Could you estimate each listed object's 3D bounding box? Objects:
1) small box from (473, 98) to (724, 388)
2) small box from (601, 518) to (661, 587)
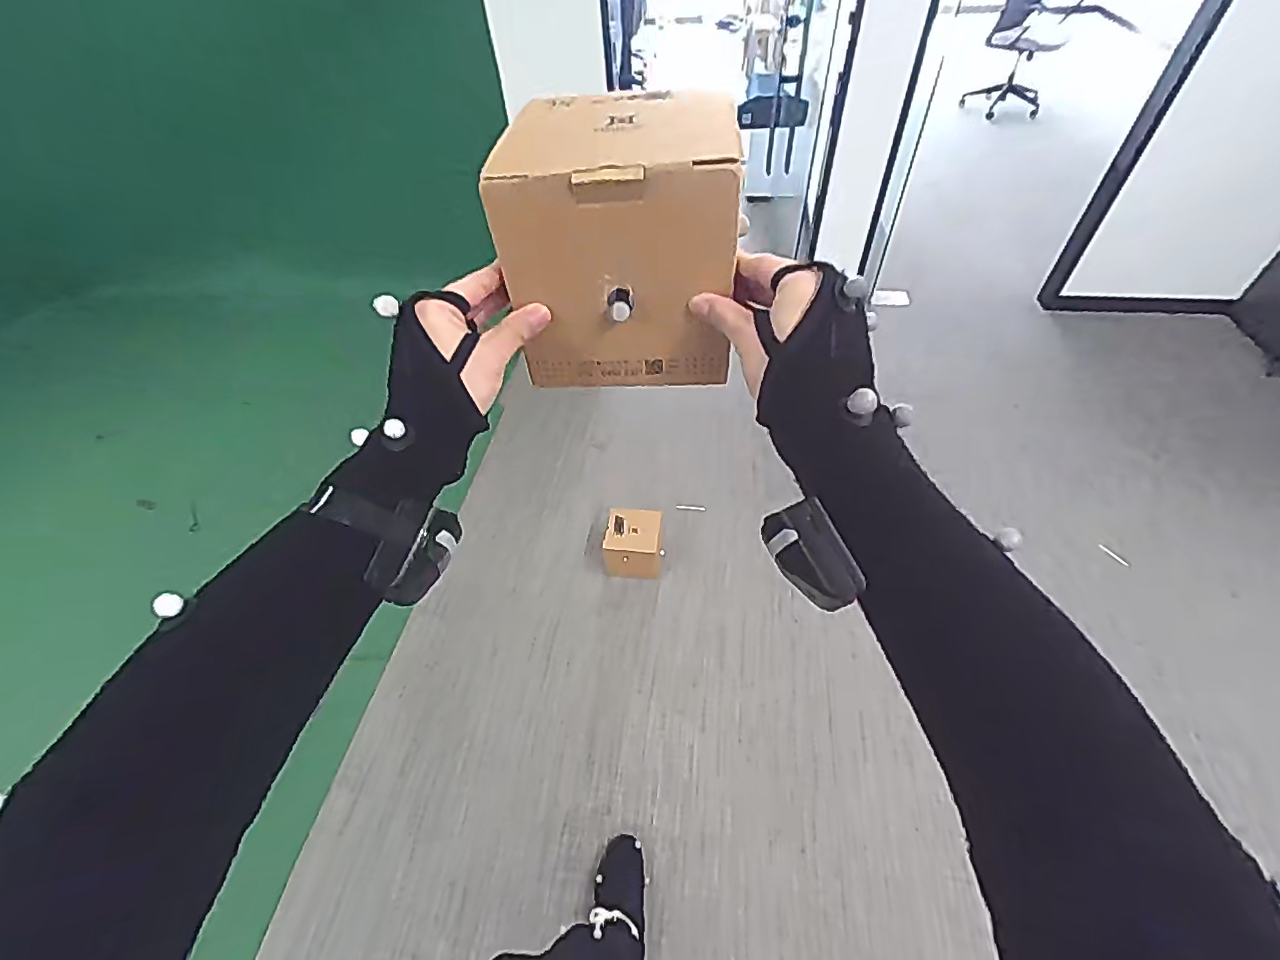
[{"bbox_3d":[-0.016,-0.190,0.451,0.168,0.176,0.179,0,48,5],"label":"small box"},{"bbox_3d":[-0.024,0.247,1.820,0.179,0.176,0.168,4,49,6],"label":"small box"}]
